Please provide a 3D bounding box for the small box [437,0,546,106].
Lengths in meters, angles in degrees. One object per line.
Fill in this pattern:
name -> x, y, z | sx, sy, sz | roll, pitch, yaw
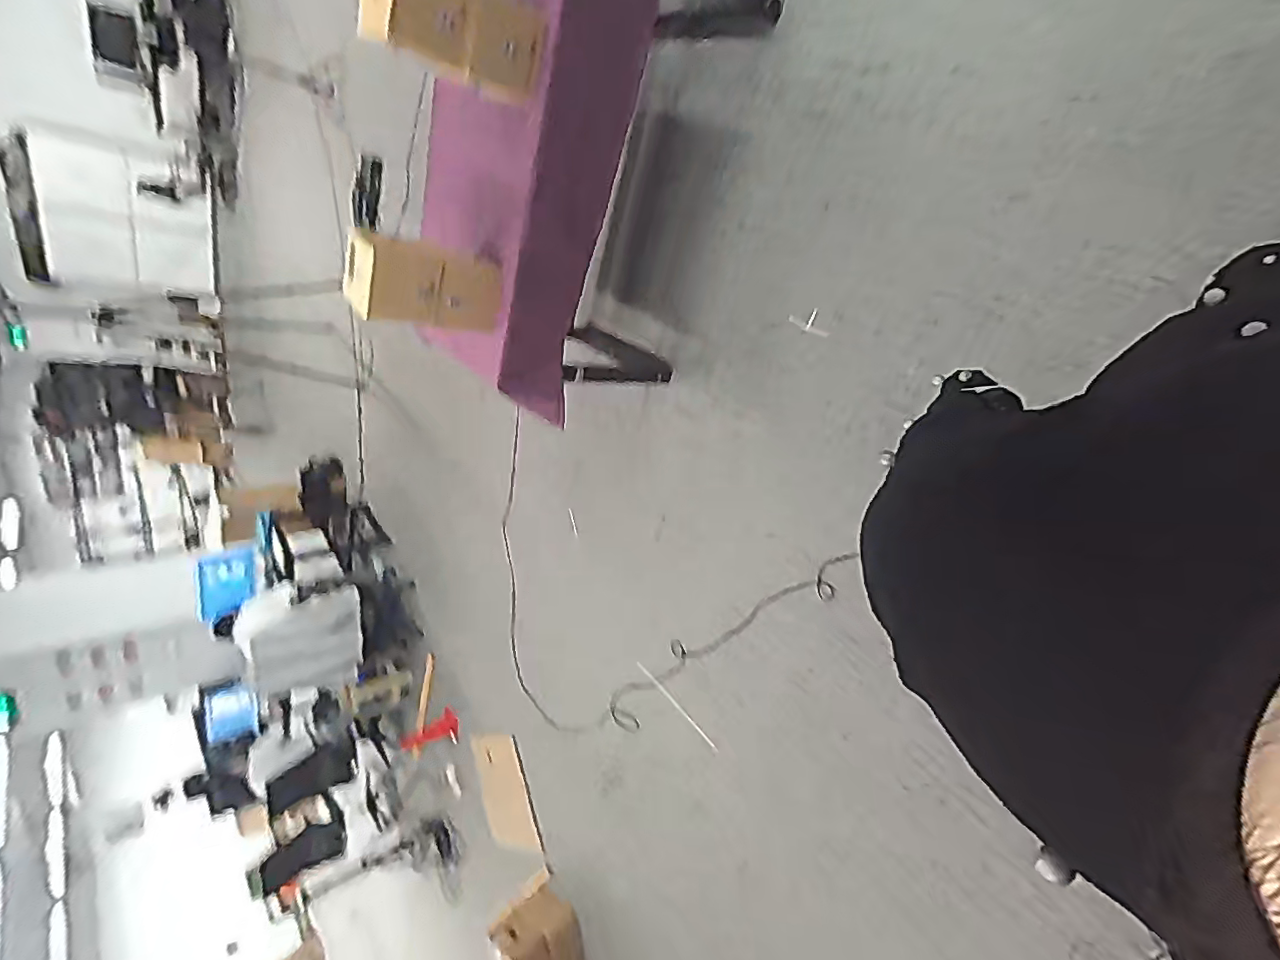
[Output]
small box -> -0.337, -0.979, 1.231 | 0.179, 0.176, 0.168 | 38, 121, 36

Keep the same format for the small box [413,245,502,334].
small box -> -0.493, -0.508, 1.463 | 0.168, 0.176, 0.179 | 40, 122, 34

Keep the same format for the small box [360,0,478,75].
small box -> -0.457, -0.970, 1.120 | 0.179, 0.176, 0.168 | 37, 121, 34
